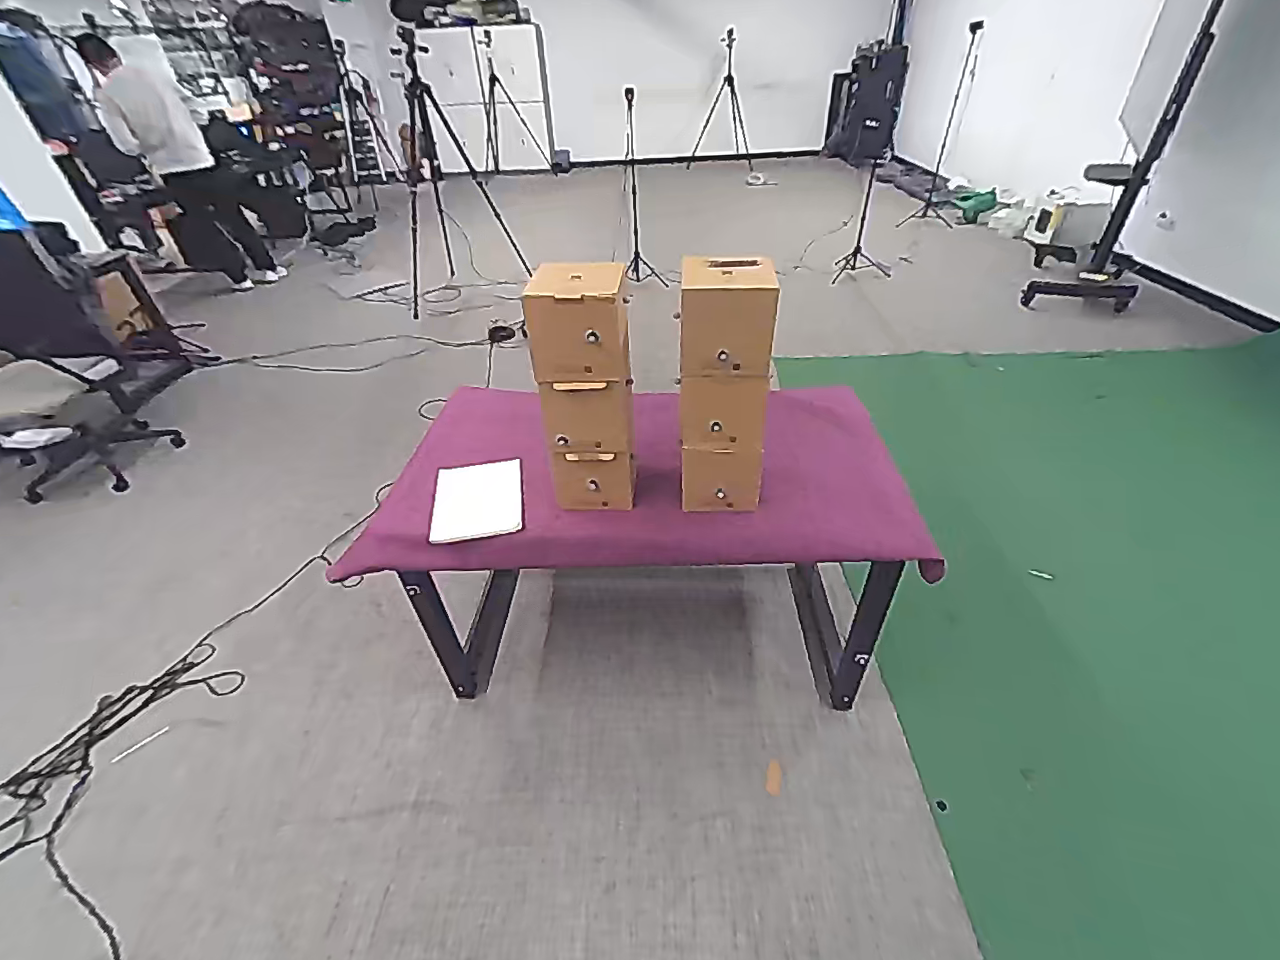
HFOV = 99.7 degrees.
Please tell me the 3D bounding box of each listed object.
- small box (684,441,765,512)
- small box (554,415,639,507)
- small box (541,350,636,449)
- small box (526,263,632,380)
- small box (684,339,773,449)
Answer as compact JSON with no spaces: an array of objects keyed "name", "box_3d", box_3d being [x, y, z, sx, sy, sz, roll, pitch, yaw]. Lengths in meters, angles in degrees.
[{"name":"small box","box_3d":[0.183,-0.048,1.219,0.168,0.176,0.179,-1,38,5]},{"name":"small box","box_3d":[-0.091,-0.051,1.243,0.168,0.176,0.179,1,39,4]},{"name":"small box","box_3d":[-0.098,-0.176,1.135,0.168,0.176,0.179,0,38,4]},{"name":"small box","box_3d":[-0.104,-0.300,1.030,0.168,0.176,0.179,1,38,5]},{"name":"small box","box_3d":[0.175,-0.180,1.124,0.168,0.176,0.179,0,38,4]}]
